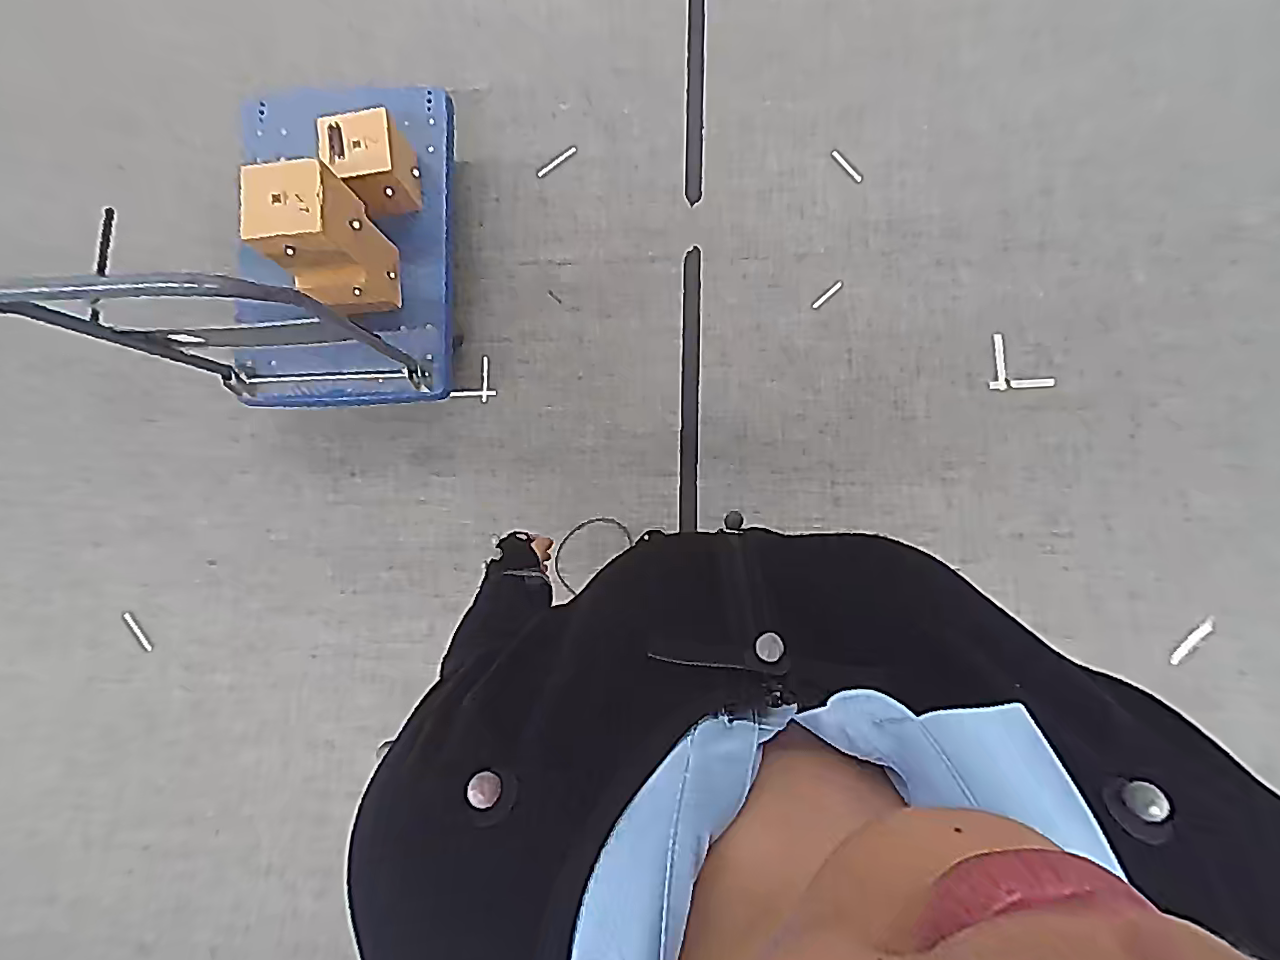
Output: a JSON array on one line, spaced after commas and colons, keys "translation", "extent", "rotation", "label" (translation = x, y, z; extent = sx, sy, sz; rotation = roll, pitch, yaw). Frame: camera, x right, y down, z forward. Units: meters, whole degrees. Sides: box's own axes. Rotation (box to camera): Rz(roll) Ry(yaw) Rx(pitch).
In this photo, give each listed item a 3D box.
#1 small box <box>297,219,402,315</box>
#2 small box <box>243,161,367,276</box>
[{"translation": [-0.726, -0.529, 1.363], "extent": [0.179, 0.176, 0.168], "rotation": [-5, 84, 3], "label": "small box"}, {"translation": [-0.737, -0.571, 1.202], "extent": [0.179, 0.176, 0.168], "rotation": [-4, 84, 3], "label": "small box"}]
